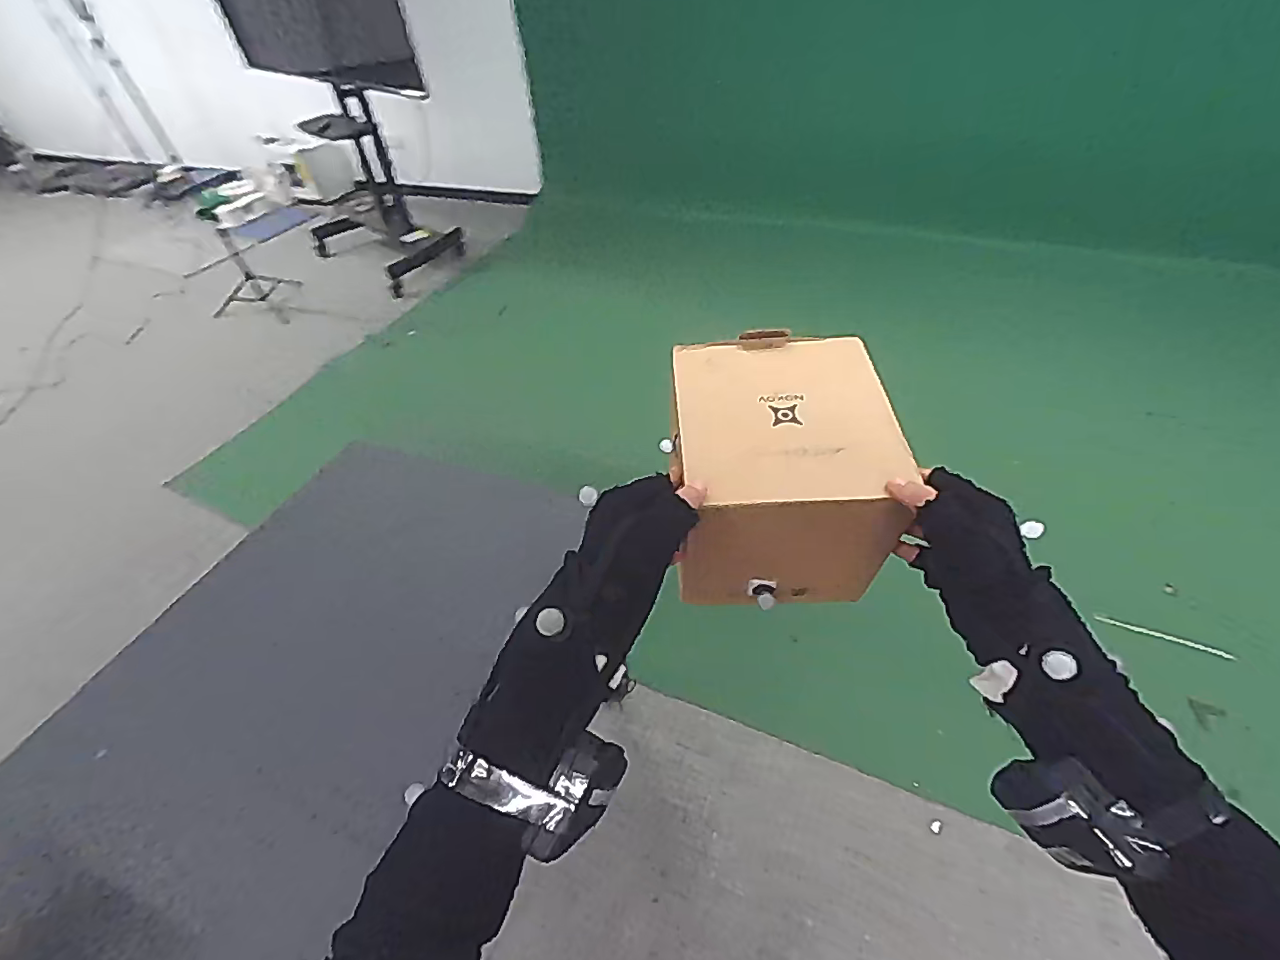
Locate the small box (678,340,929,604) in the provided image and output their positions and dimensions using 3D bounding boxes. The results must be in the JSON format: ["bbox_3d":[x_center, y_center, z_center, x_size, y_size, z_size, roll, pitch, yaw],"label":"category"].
[{"bbox_3d":[0.121,-0.004,0.487,0.168,0.176,0.179,-1,53,2],"label":"small box"}]
